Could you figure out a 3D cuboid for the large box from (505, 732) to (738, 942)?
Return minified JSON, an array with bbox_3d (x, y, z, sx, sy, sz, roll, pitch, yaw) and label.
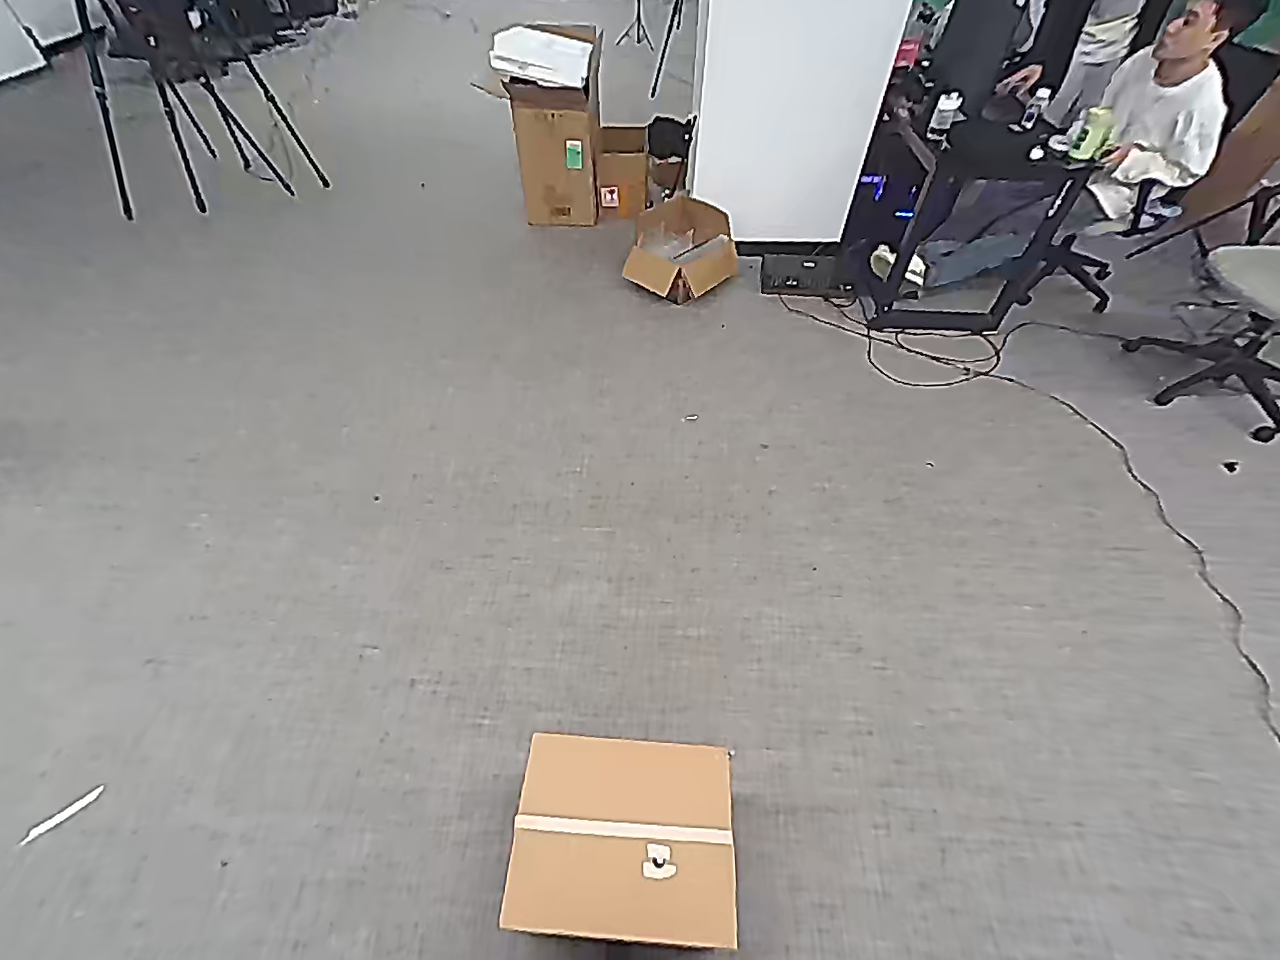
[{"bbox_3d":[-0.031,0.740,1.117,0.408,0.320,0.320,4,50,1],"label":"large box"}]
